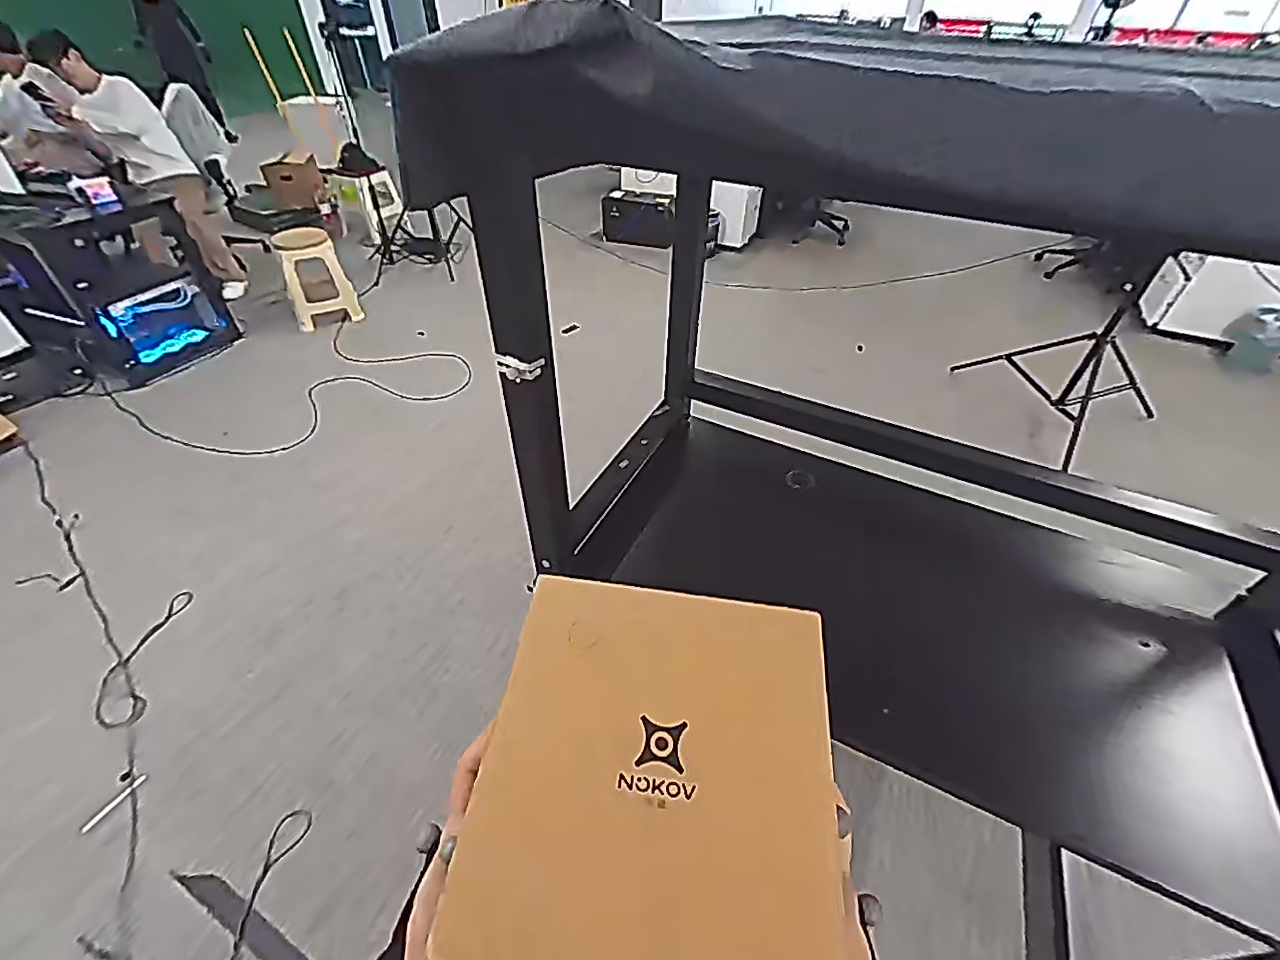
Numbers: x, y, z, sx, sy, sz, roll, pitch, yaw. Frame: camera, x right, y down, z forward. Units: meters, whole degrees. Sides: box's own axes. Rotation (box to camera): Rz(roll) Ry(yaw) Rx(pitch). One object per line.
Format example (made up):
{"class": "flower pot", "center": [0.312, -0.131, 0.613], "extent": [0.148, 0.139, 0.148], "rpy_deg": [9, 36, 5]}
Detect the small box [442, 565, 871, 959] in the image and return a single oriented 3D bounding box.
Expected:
{"class": "small box", "center": [0.012, 0.175, 0.312], "extent": [0.168, 0.176, 0.179], "rpy_deg": [7, 50, 3]}
